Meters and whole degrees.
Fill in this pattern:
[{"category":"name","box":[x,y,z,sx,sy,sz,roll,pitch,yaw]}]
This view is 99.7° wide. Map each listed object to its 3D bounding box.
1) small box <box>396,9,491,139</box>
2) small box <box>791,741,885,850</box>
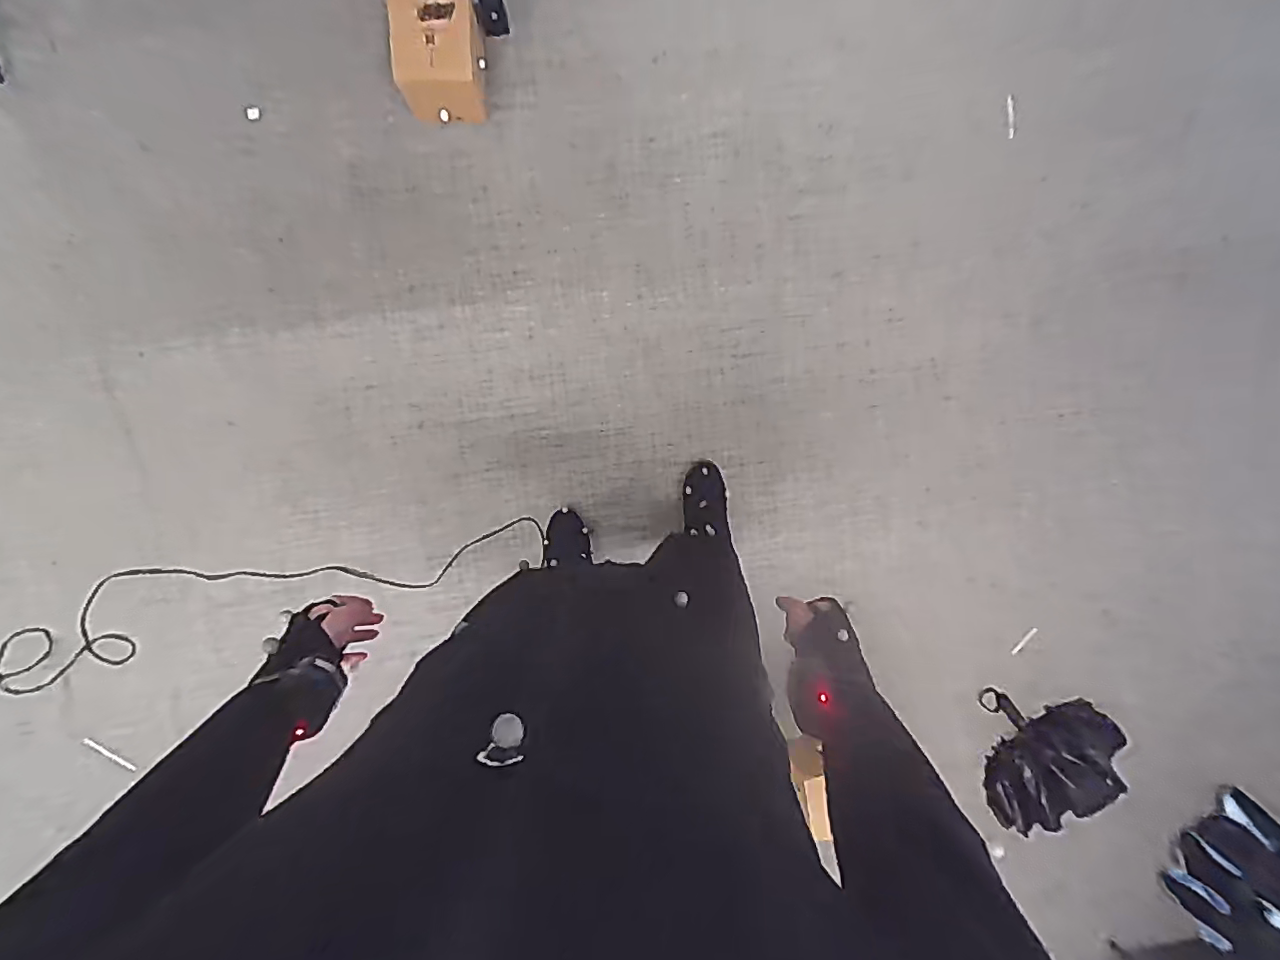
[{"category":"small box","box":[-0.439,-0.913,1.229,0.168,0.176,0.179,-2,95,-4]},{"category":"small box","box":[0.505,0.805,1.402,0.168,0.176,0.179,-11,93,-3]}]
